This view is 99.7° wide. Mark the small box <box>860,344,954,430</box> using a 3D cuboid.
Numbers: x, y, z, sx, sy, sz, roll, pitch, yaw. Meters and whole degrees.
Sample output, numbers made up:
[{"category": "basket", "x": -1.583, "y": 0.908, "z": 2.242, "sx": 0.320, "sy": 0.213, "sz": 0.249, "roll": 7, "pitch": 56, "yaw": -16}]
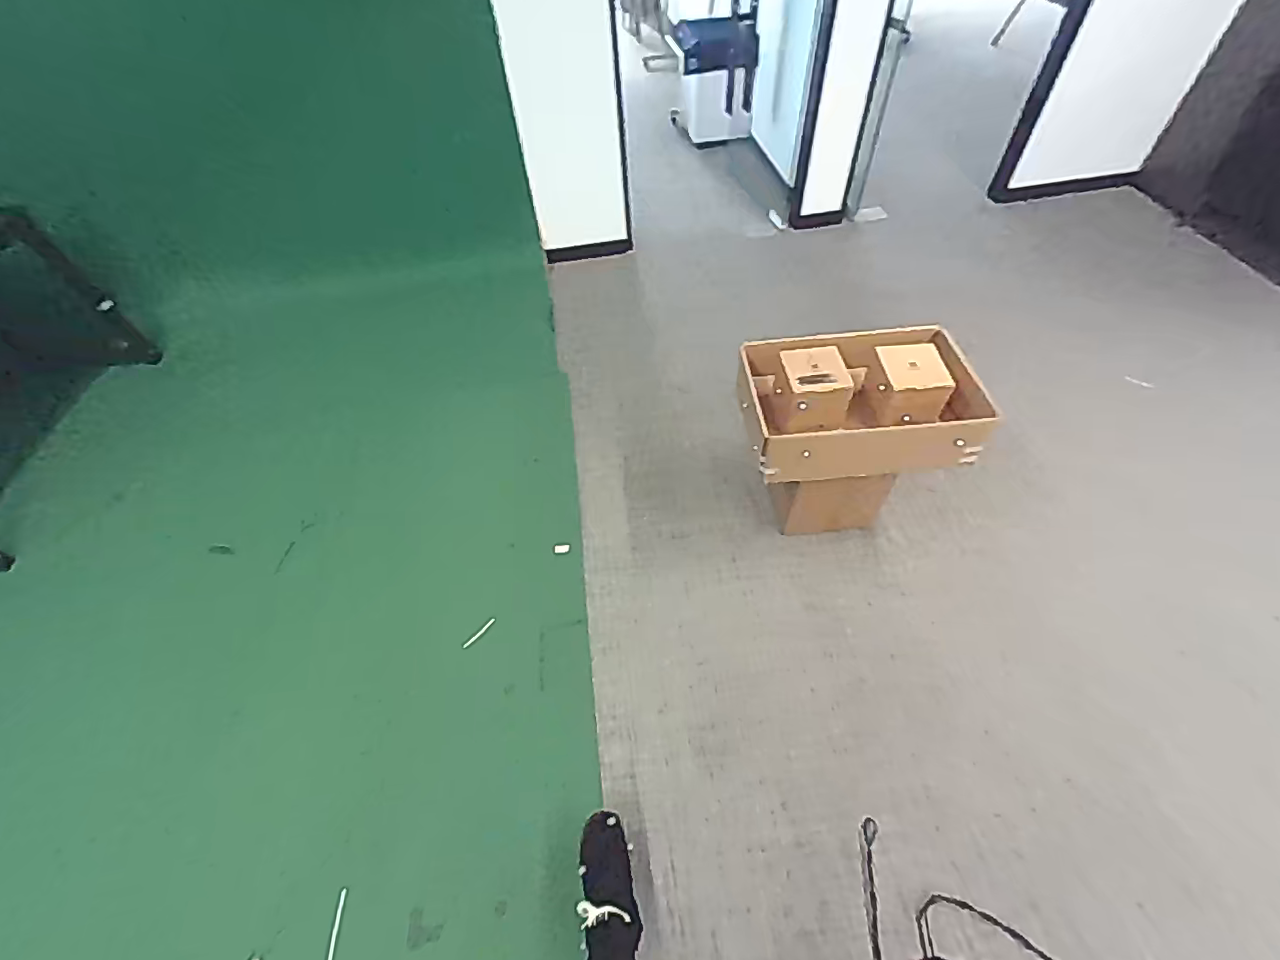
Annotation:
[{"category": "small box", "x": 0.746, "y": -0.262, "z": 1.537, "sx": 0.168, "sy": 0.176, "sz": 0.179, "roll": -4, "pitch": 53, "yaw": 1}]
